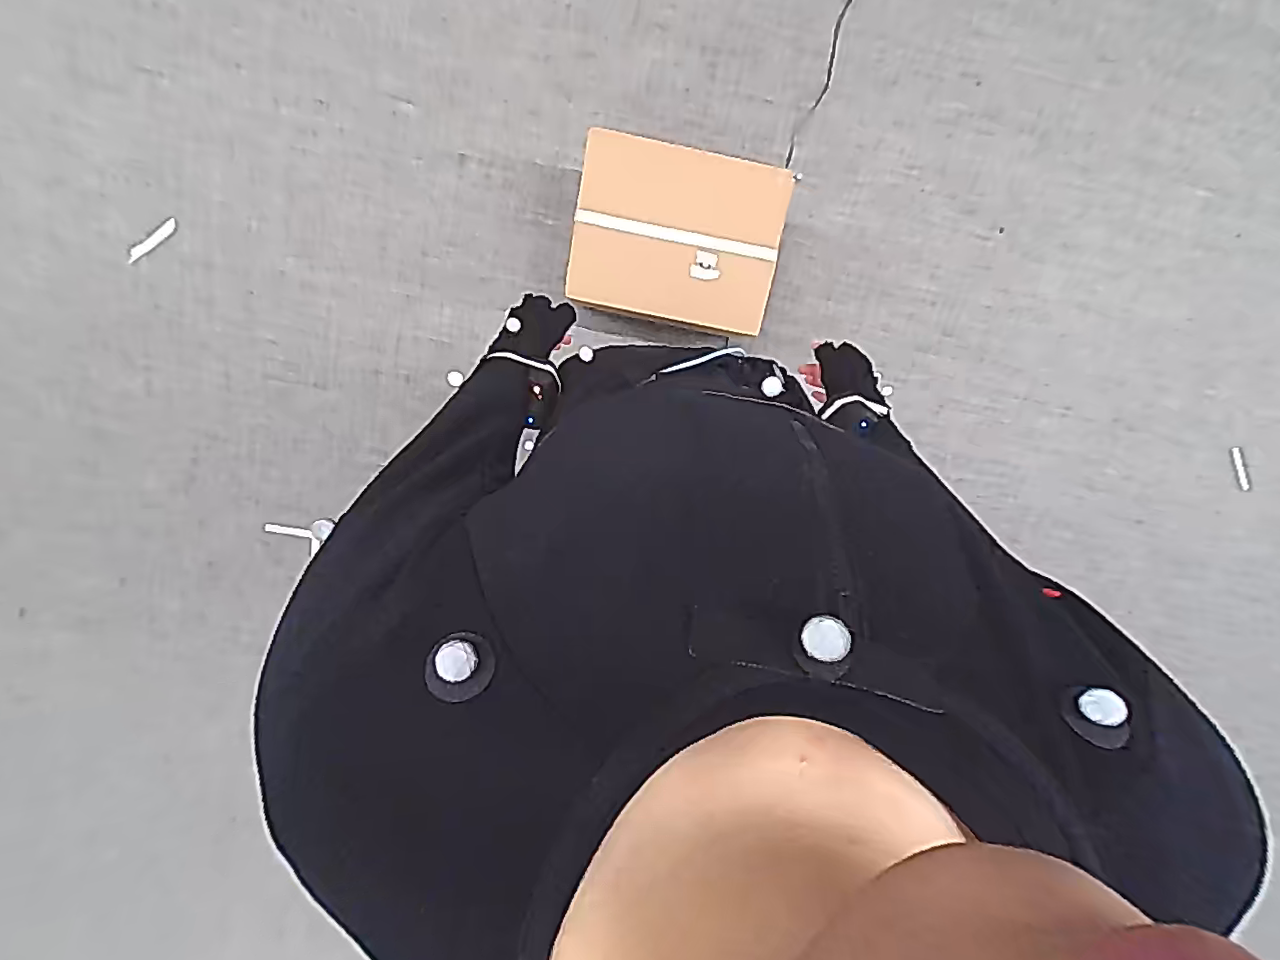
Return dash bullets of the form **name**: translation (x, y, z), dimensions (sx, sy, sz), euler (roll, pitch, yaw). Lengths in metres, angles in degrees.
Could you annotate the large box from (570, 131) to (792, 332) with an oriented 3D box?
- **large box**: translation (0.072, -0.527, 1.220), dimensions (0.408, 0.320, 0.320), euler (10, 105, -4)
